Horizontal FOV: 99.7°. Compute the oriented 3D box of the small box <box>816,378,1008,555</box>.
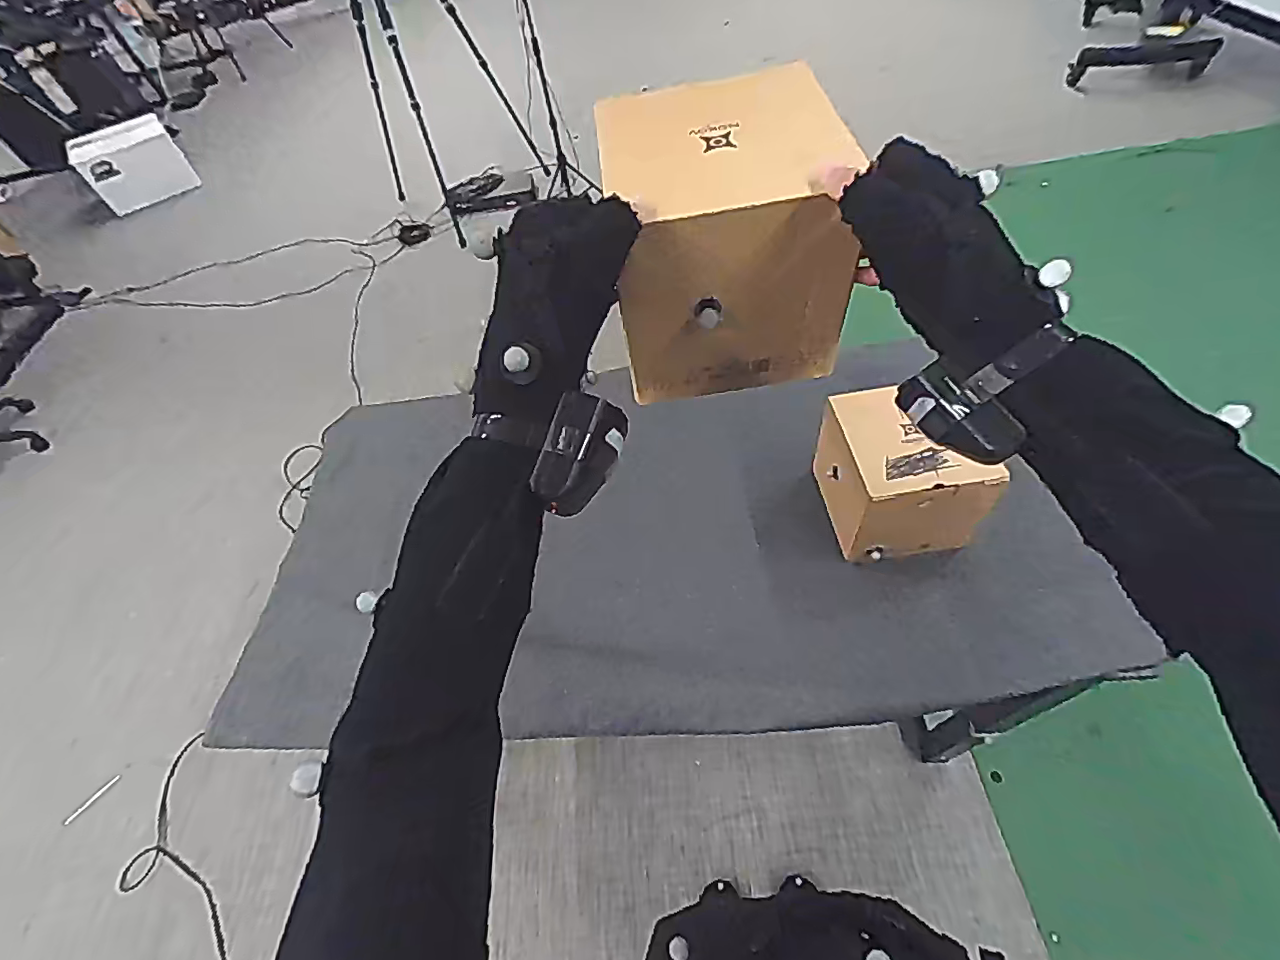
[{"bbox_3d":[0.353,-0.010,0.745,0.168,0.176,0.179,-9,52,3],"label":"small box"}]

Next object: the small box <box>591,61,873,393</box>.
[{"bbox_3d":[0.061,-0.186,0.430,0.168,0.176,0.179,-9,56,3],"label":"small box"}]
